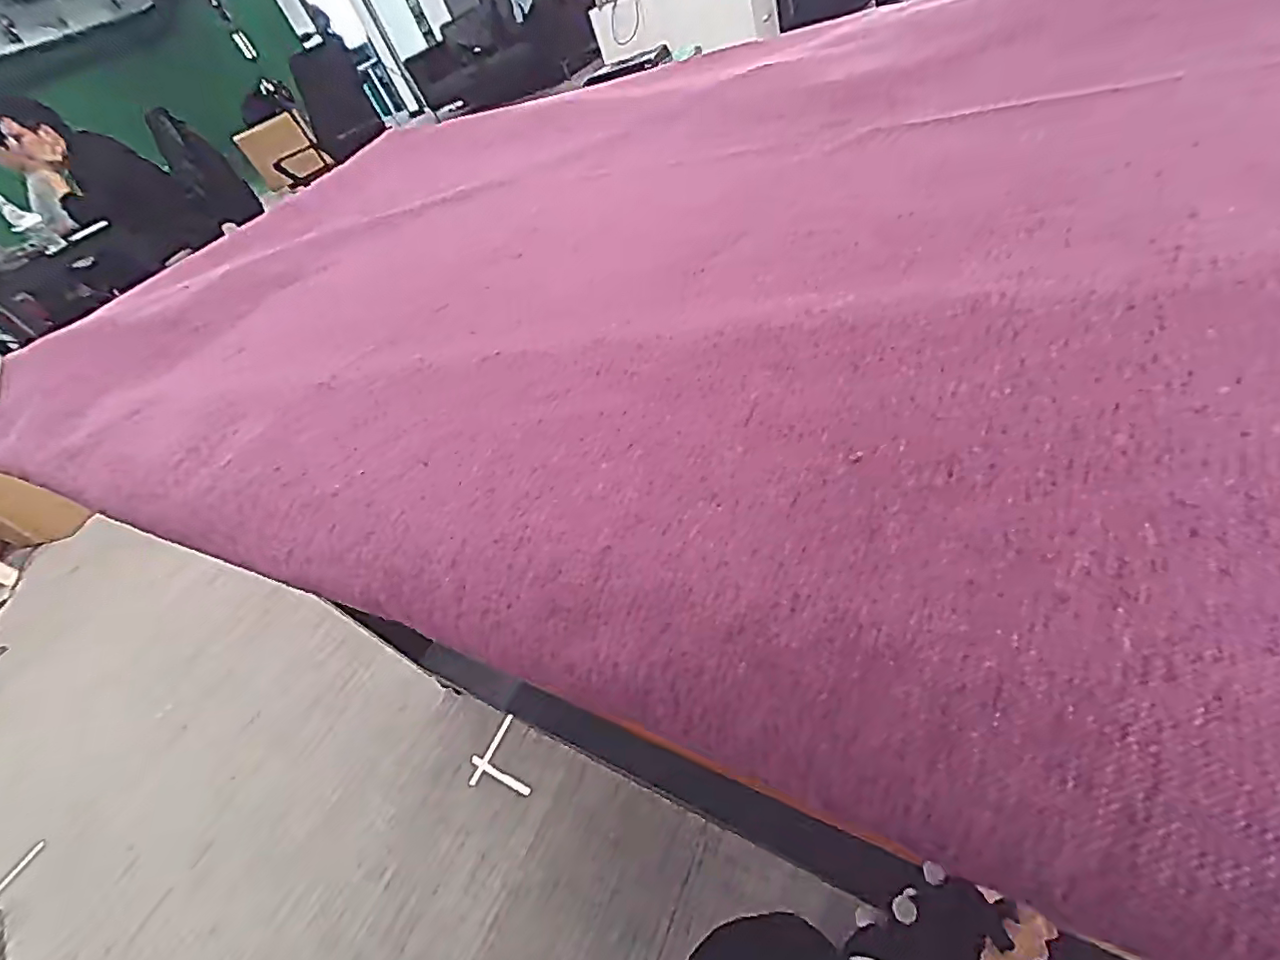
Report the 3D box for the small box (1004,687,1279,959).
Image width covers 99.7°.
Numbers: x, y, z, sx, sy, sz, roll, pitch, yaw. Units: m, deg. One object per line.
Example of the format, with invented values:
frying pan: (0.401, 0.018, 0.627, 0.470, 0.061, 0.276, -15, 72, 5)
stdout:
small box: (0.430, 0.314, 0.464, 0.179, 0.176, 0.168, 9, 52, 33)
